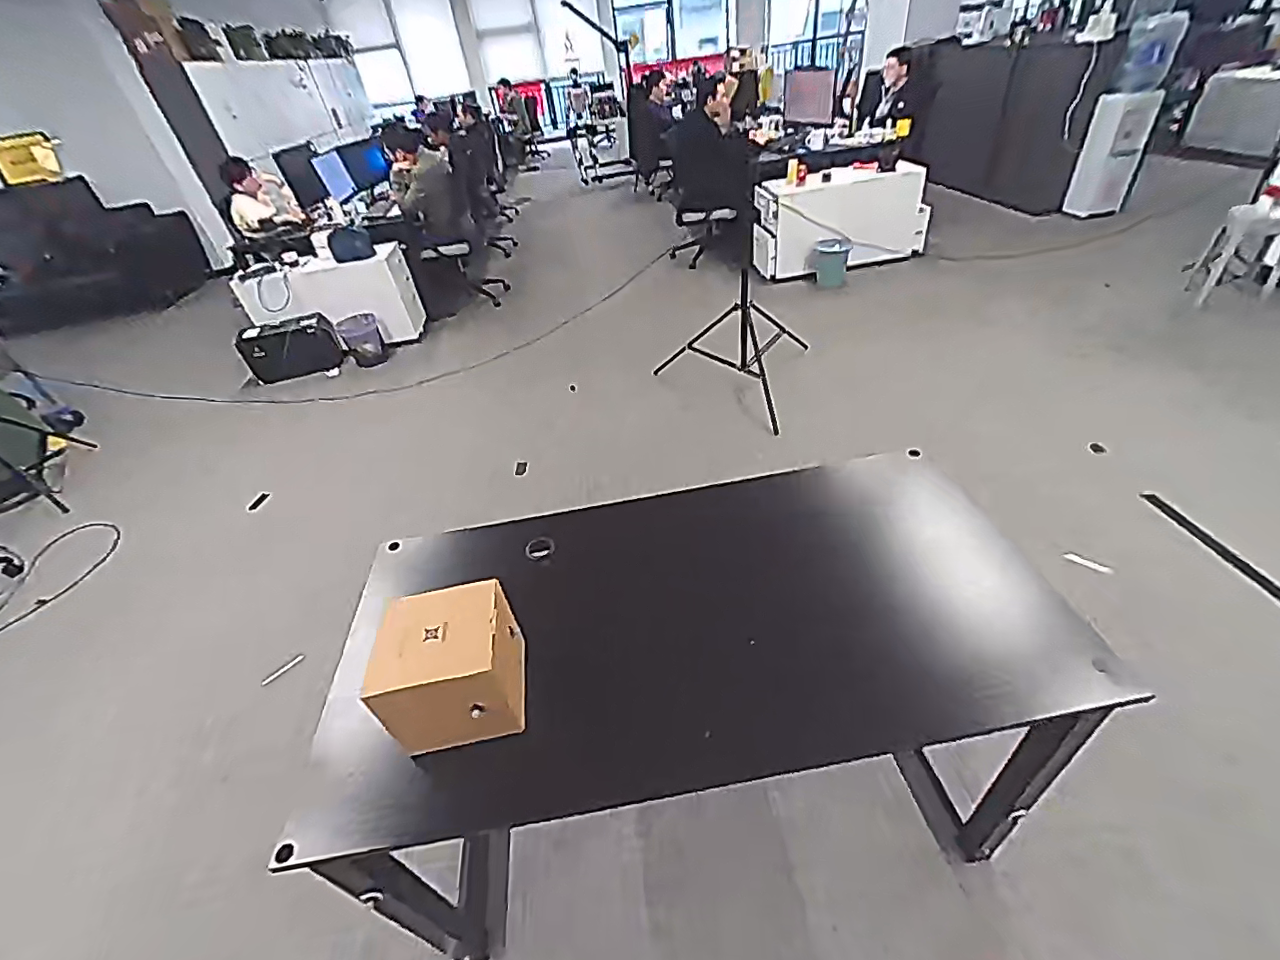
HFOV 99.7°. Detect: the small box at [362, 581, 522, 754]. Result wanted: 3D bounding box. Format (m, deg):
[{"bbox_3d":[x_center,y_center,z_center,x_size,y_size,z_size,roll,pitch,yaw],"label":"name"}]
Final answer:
[{"bbox_3d":[-0.282,0.284,0.820,0.179,0.176,0.168,-12,38,-3],"label":"small box"}]
